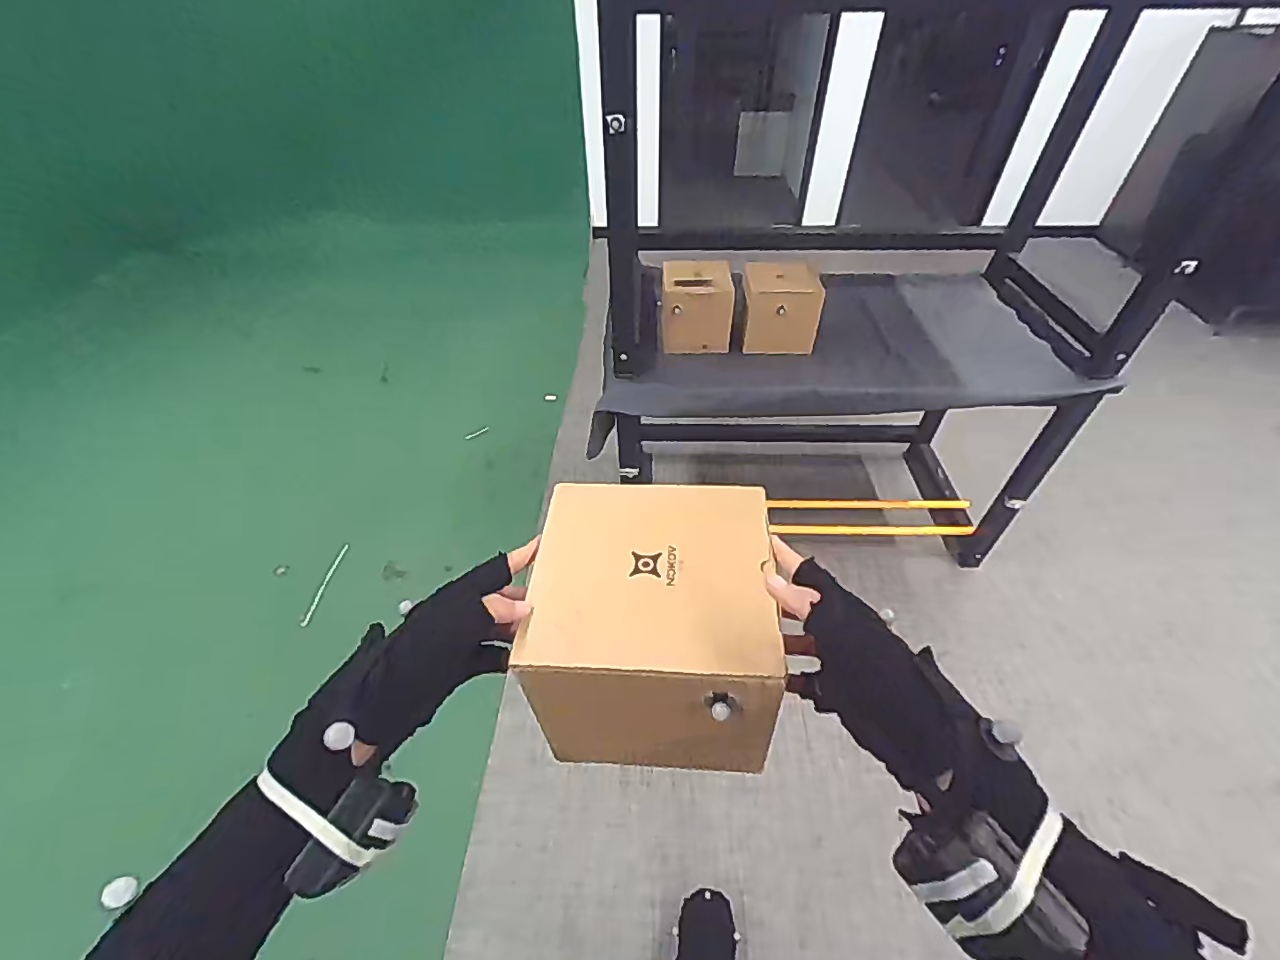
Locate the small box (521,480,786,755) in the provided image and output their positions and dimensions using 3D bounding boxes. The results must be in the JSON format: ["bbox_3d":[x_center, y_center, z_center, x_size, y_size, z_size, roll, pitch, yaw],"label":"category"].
[{"bbox_3d":[0.017,0.117,0.459,0.179,0.176,0.168,1,44,4],"label":"small box"}]
